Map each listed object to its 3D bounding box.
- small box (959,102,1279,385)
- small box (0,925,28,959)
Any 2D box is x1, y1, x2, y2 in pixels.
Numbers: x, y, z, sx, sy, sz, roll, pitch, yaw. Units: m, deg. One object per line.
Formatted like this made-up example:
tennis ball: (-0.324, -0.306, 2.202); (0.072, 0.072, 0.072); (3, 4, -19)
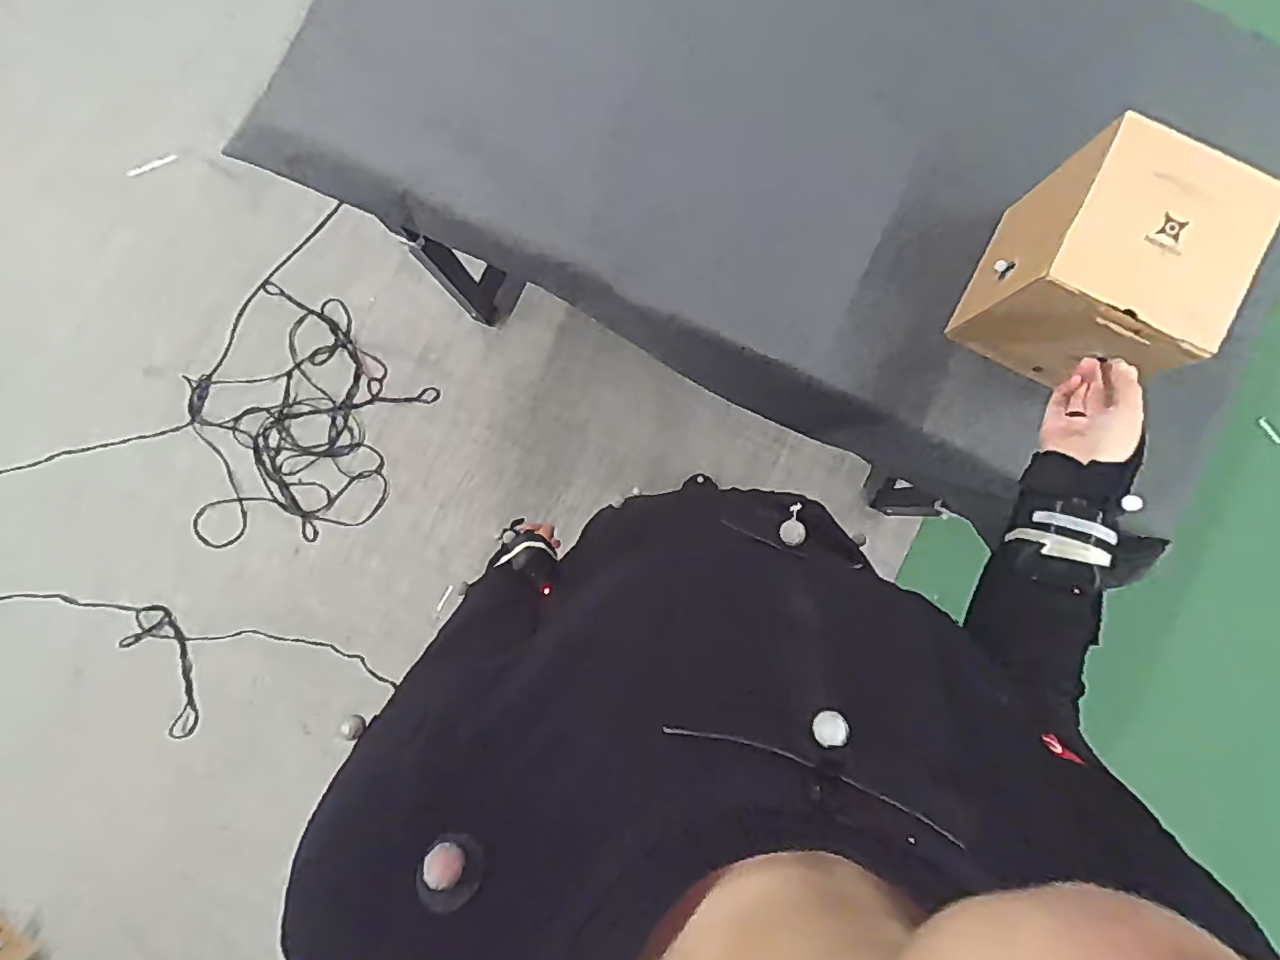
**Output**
small box: (0.468, -0.218, 0.552); (0.168, 0.176, 0.179); (27, 87, 1)
small box: (-1.609, 1.184, 1.251); (0.168, 0.176, 0.179); (36, 88, 3)
